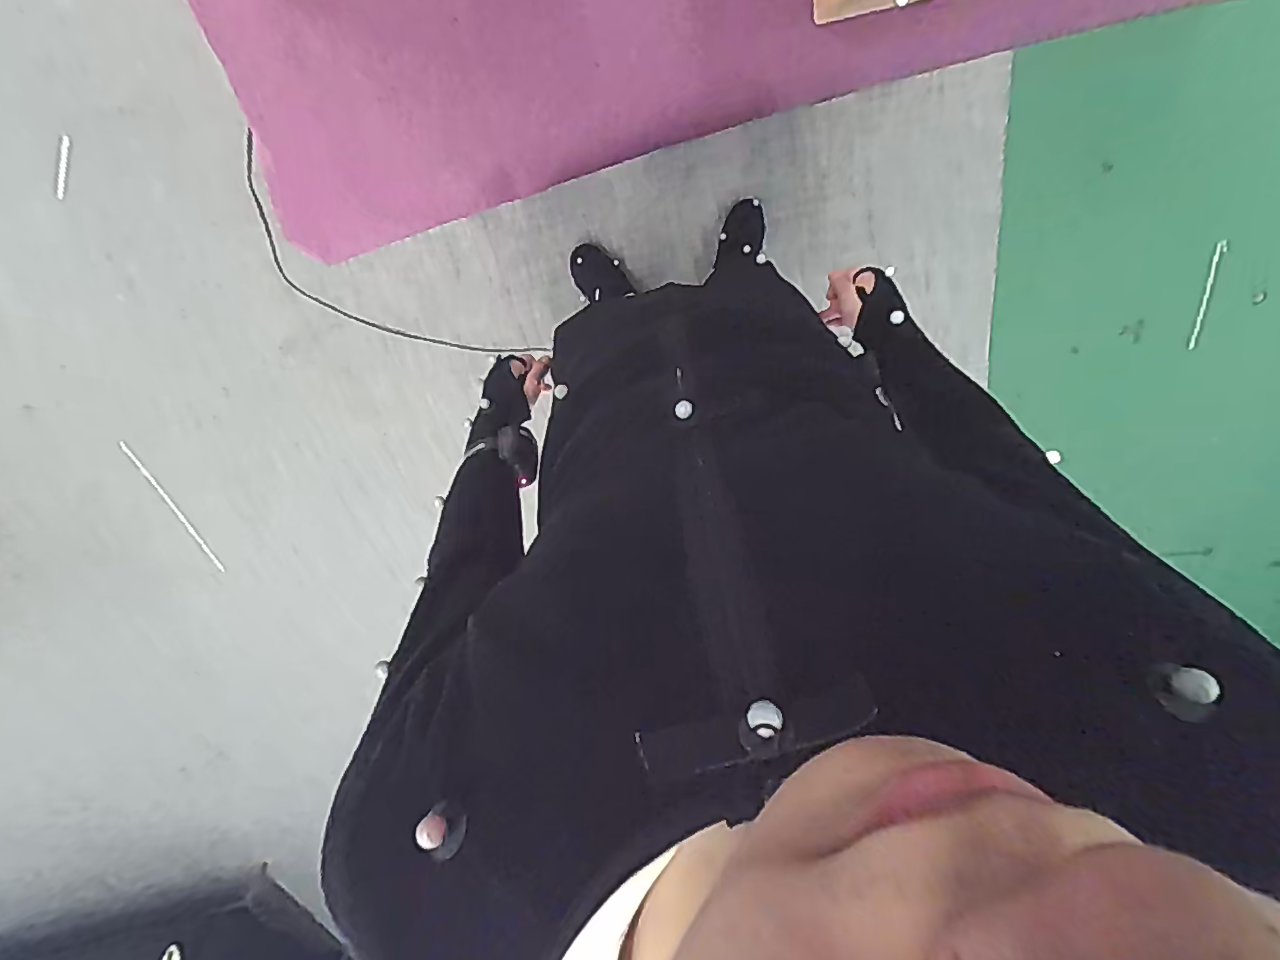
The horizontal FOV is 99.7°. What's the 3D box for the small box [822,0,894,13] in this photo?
[{"bbox_3d":[0.276,-0.597,0.529,0.168,0.176,0.179,-12,116,2],"label":"small box"}]
